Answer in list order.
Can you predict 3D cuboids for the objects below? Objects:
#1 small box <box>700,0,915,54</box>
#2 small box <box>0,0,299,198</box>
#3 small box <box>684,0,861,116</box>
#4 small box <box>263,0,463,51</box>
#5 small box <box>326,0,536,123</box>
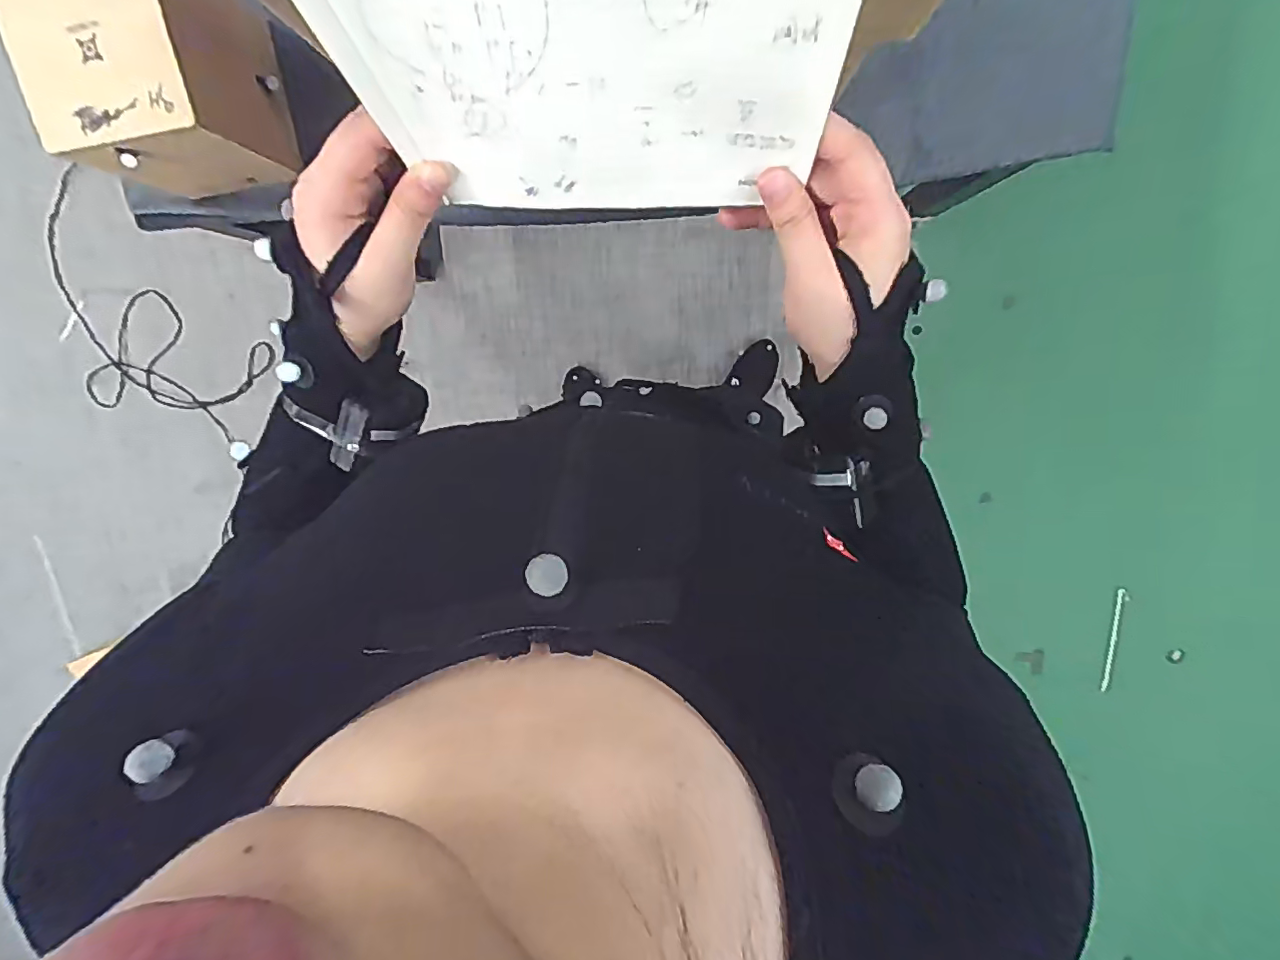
[{"bbox_3d":[0.132,-0.443,0.381,0.179,0.176,0.168,-3,103,6],"label":"small box"},{"bbox_3d":[-0.524,-0.439,0.597,0.168,0.176,0.179,-7,103,5],"label":"small box"},{"bbox_3d":[0.140,-0.504,0.534,0.168,0.176,0.179,13,104,2],"label":"small box"},{"bbox_3d":[-0.243,-0.472,0.402,0.179,0.176,0.168,-16,102,7],"label":"small box"},{"bbox_3d":[-0.232,-0.513,0.561,0.179,0.176,0.168,-19,102,8],"label":"small box"}]
